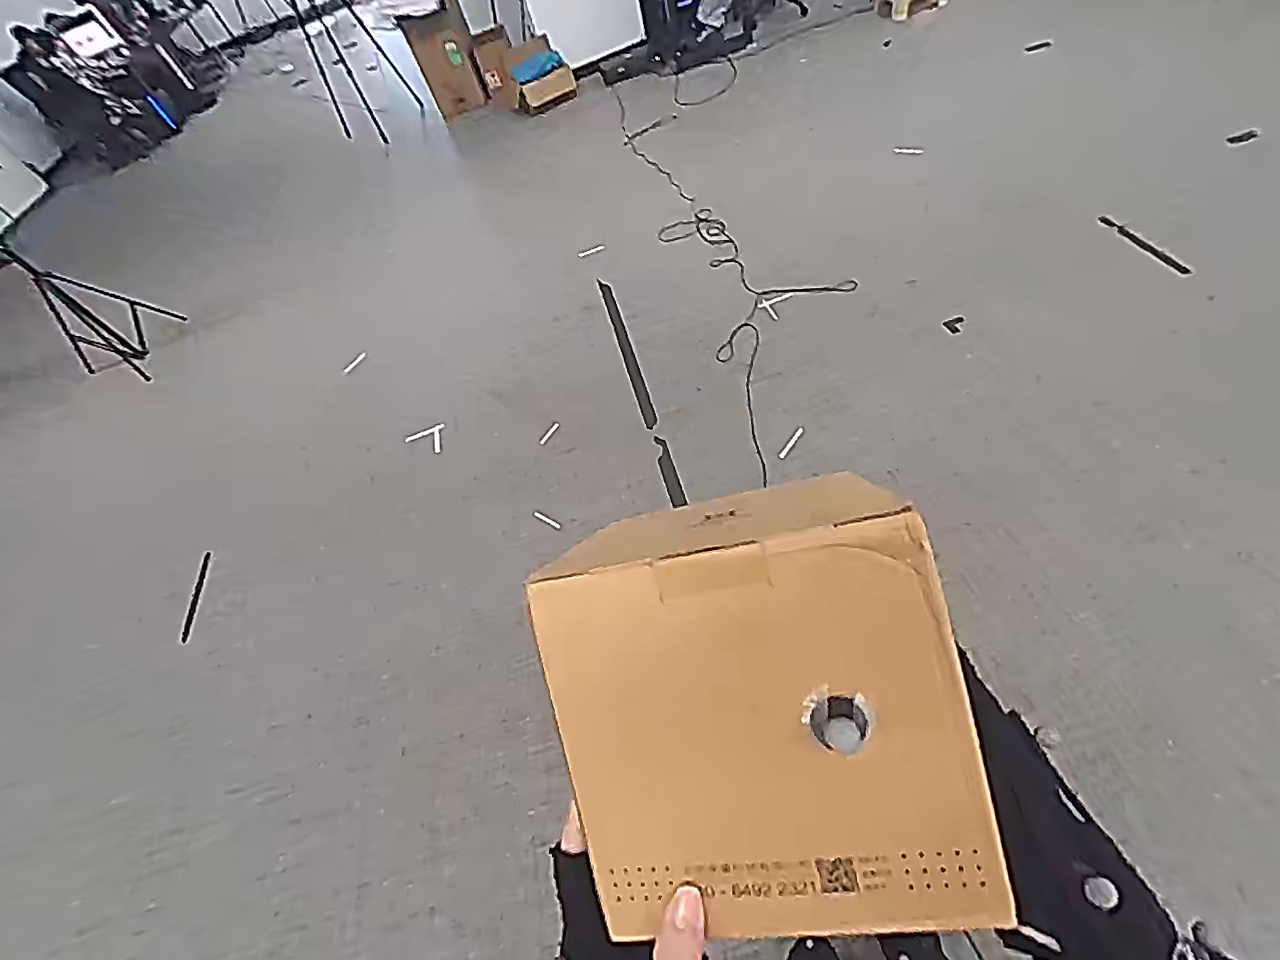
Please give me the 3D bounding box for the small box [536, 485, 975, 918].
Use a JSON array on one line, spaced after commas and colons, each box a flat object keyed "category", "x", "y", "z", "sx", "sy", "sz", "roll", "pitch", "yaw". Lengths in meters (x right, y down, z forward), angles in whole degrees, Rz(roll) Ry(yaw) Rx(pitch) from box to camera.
[{"category": "small box", "x": 0.066, "y": 0.111, "z": 0.316, "sx": 0.168, "sy": 0.179, "sz": 0.176, "roll": -13, "pitch": 92, "yaw": 15}]
